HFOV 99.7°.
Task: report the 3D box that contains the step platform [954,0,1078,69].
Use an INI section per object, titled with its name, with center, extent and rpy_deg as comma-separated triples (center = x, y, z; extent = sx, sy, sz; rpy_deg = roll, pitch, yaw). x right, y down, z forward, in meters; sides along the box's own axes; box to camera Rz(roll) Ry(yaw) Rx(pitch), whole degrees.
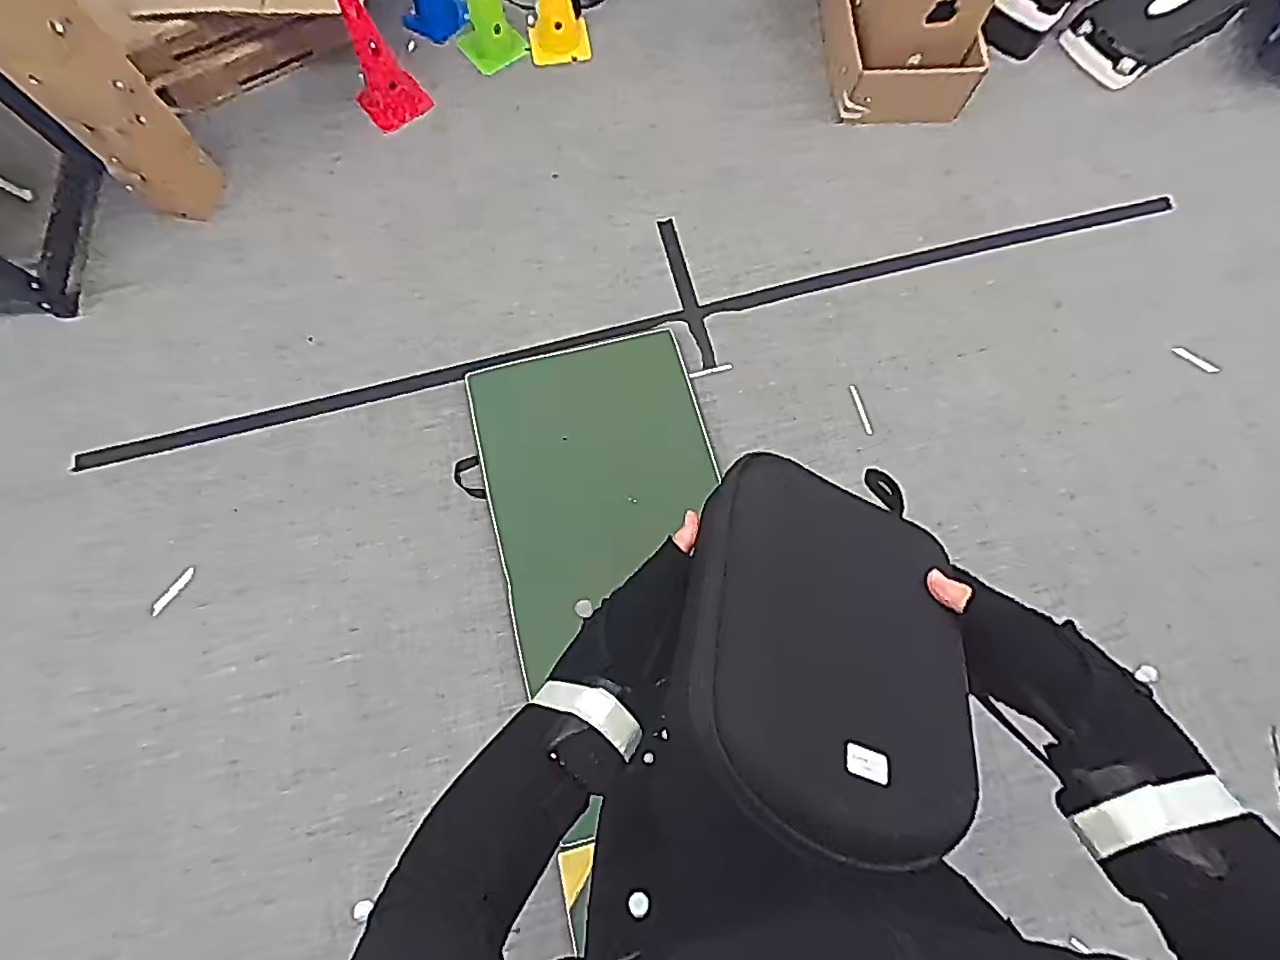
[step platform]
center = 1.442, -1.760, 1.886
extent = 0.684, 0.204, 0.286
rpy_deg = -43, 79, -11
